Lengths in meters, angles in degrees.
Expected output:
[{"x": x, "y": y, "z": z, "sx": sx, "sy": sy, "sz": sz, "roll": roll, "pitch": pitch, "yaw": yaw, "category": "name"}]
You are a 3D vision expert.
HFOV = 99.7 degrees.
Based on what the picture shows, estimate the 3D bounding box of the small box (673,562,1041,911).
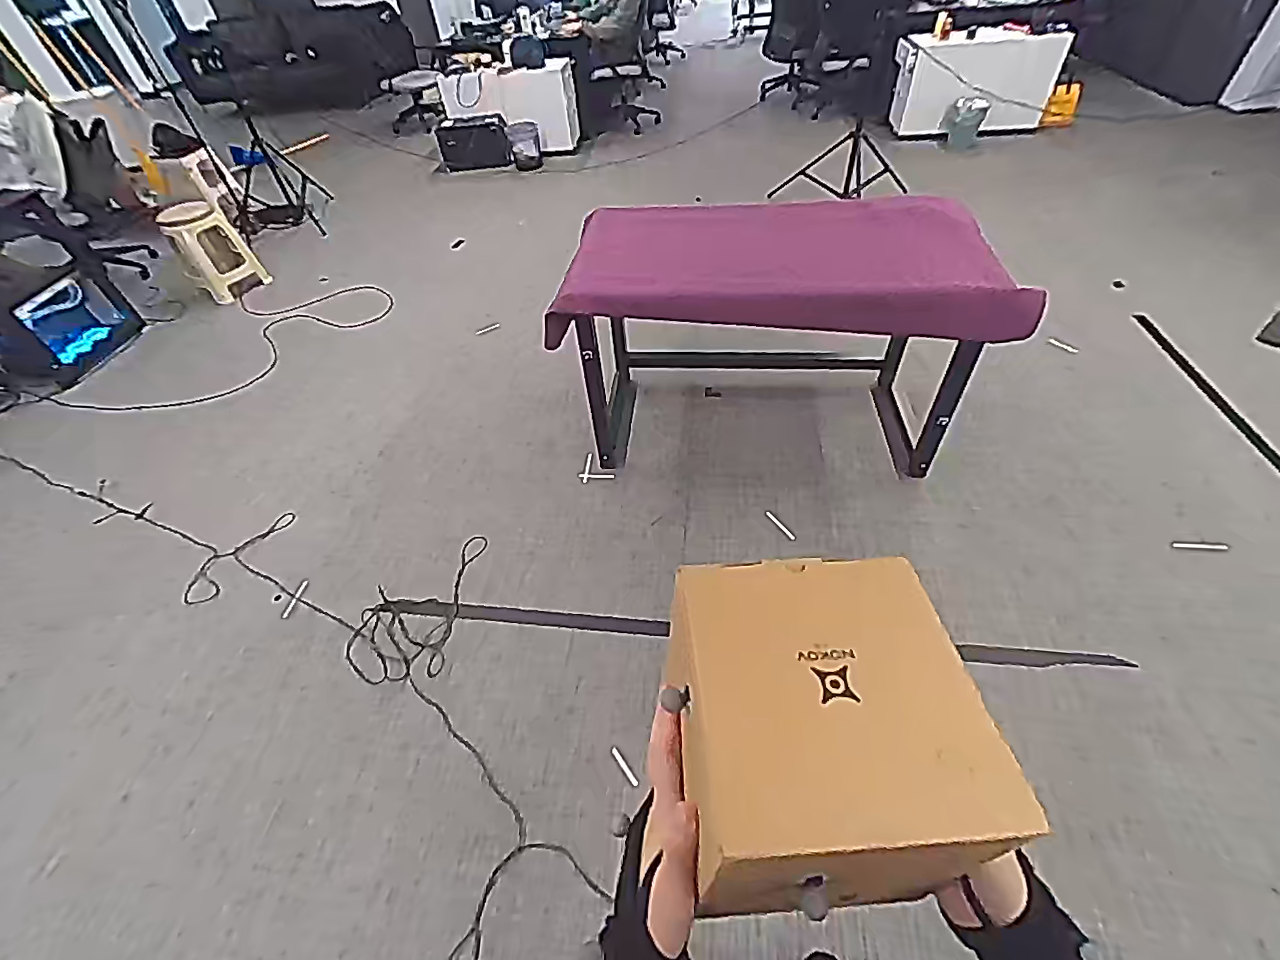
[{"x": 0.115, "y": 0.180, "z": 0.380, "sx": 0.168, "sy": 0.176, "sz": 0.179, "roll": -2, "pitch": 42, "yaw": -4, "category": "small box"}]
